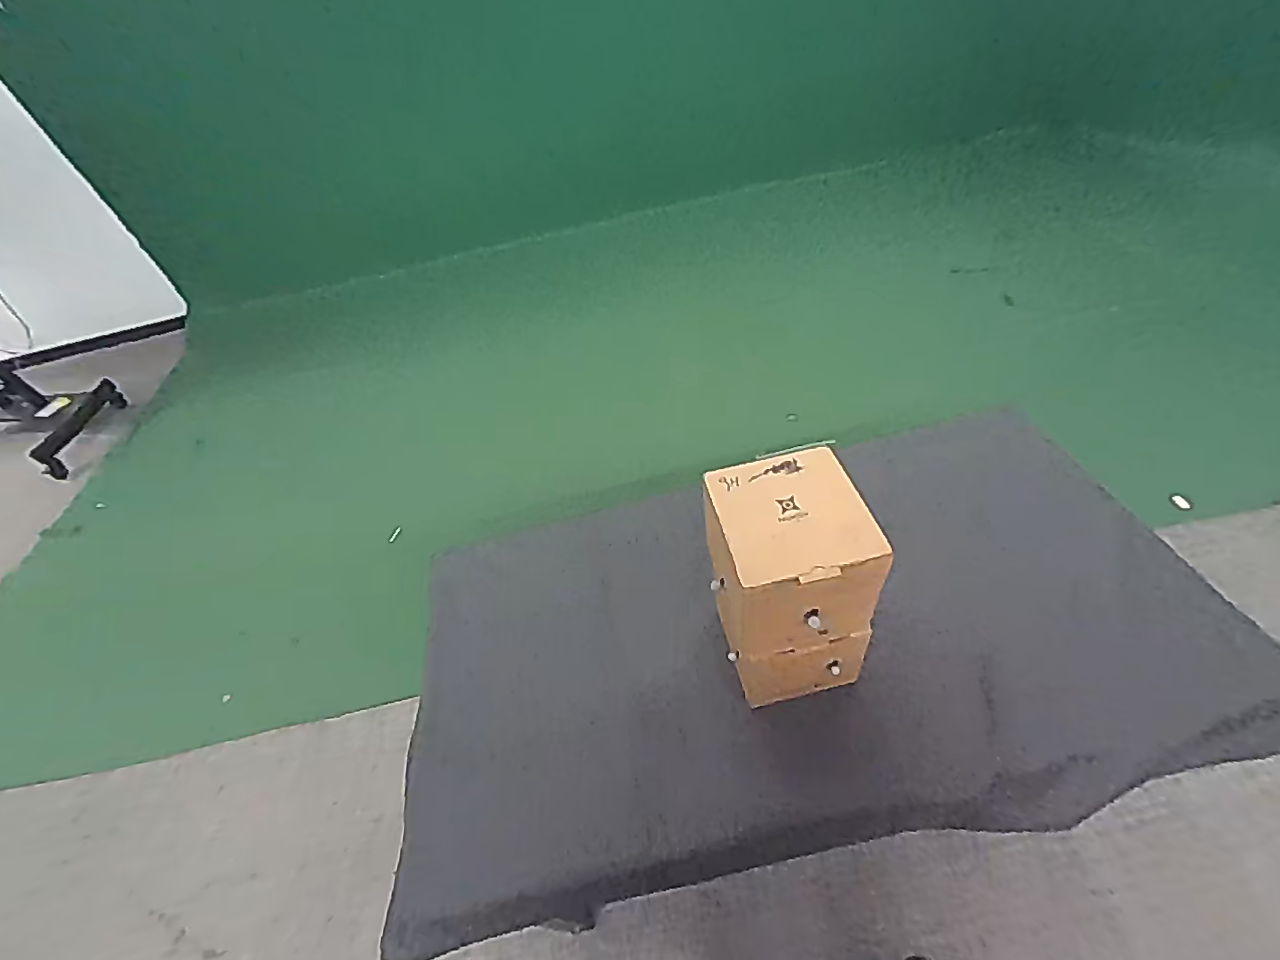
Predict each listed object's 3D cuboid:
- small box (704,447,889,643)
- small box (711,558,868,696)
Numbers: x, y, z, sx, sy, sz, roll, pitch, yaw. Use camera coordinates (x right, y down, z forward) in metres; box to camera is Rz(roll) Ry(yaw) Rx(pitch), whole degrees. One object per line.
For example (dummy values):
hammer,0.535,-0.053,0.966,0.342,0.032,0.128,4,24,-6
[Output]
small box,0.184,0.089,0.685,0.168,0.176,0.179,-12,49,-1
small box,0.212,0.200,0.803,0.168,0.176,0.179,-14,46,-2
